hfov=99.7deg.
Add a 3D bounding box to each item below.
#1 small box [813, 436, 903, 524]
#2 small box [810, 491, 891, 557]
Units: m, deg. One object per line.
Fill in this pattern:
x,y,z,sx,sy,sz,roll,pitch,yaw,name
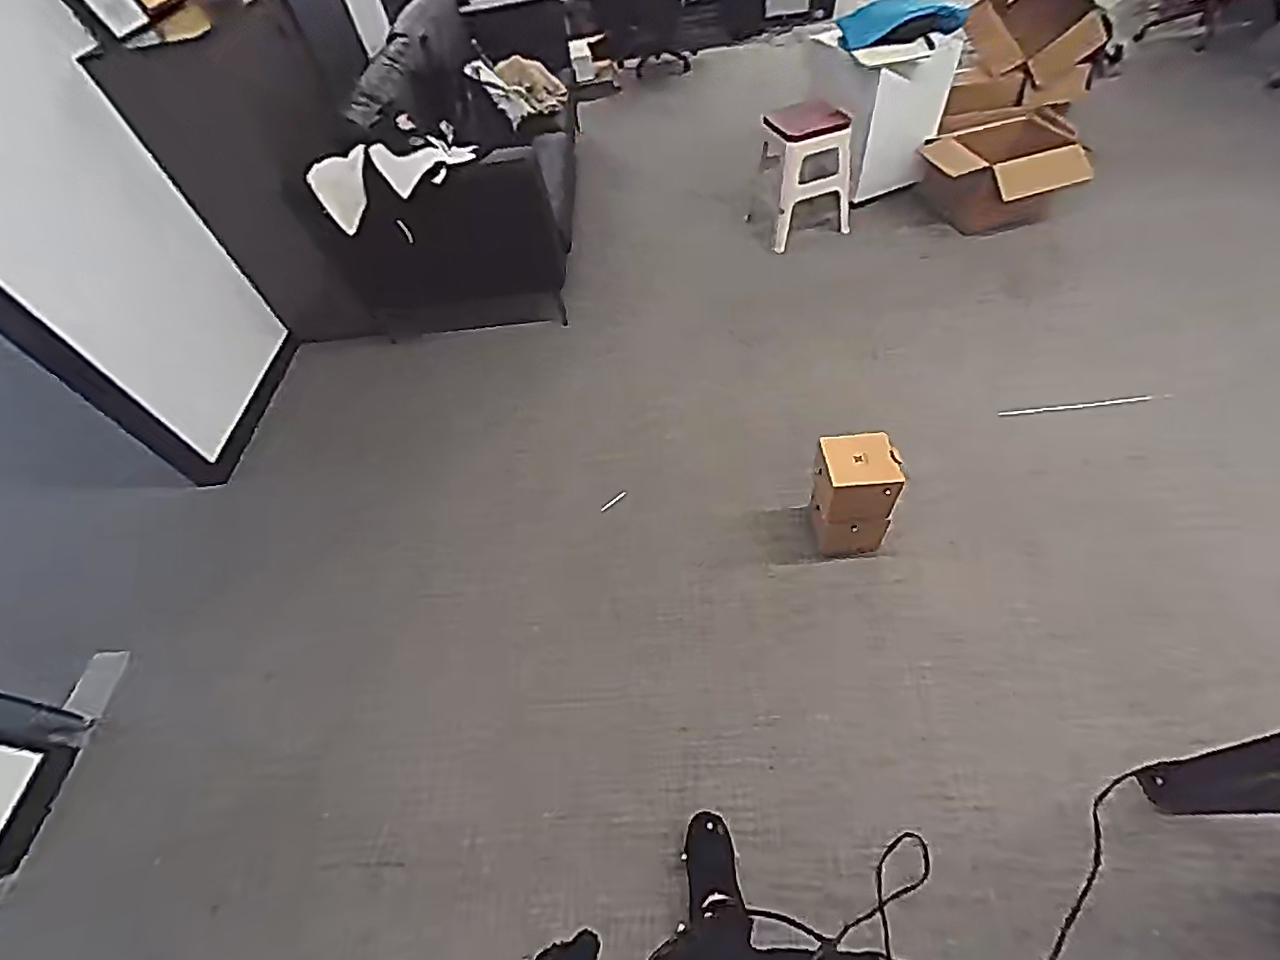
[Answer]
0.570,0.004,1.444,0.179,0.176,0.168,-5,52,4,small box
0.602,0.104,1.570,0.168,0.176,0.179,-6,52,4,small box
